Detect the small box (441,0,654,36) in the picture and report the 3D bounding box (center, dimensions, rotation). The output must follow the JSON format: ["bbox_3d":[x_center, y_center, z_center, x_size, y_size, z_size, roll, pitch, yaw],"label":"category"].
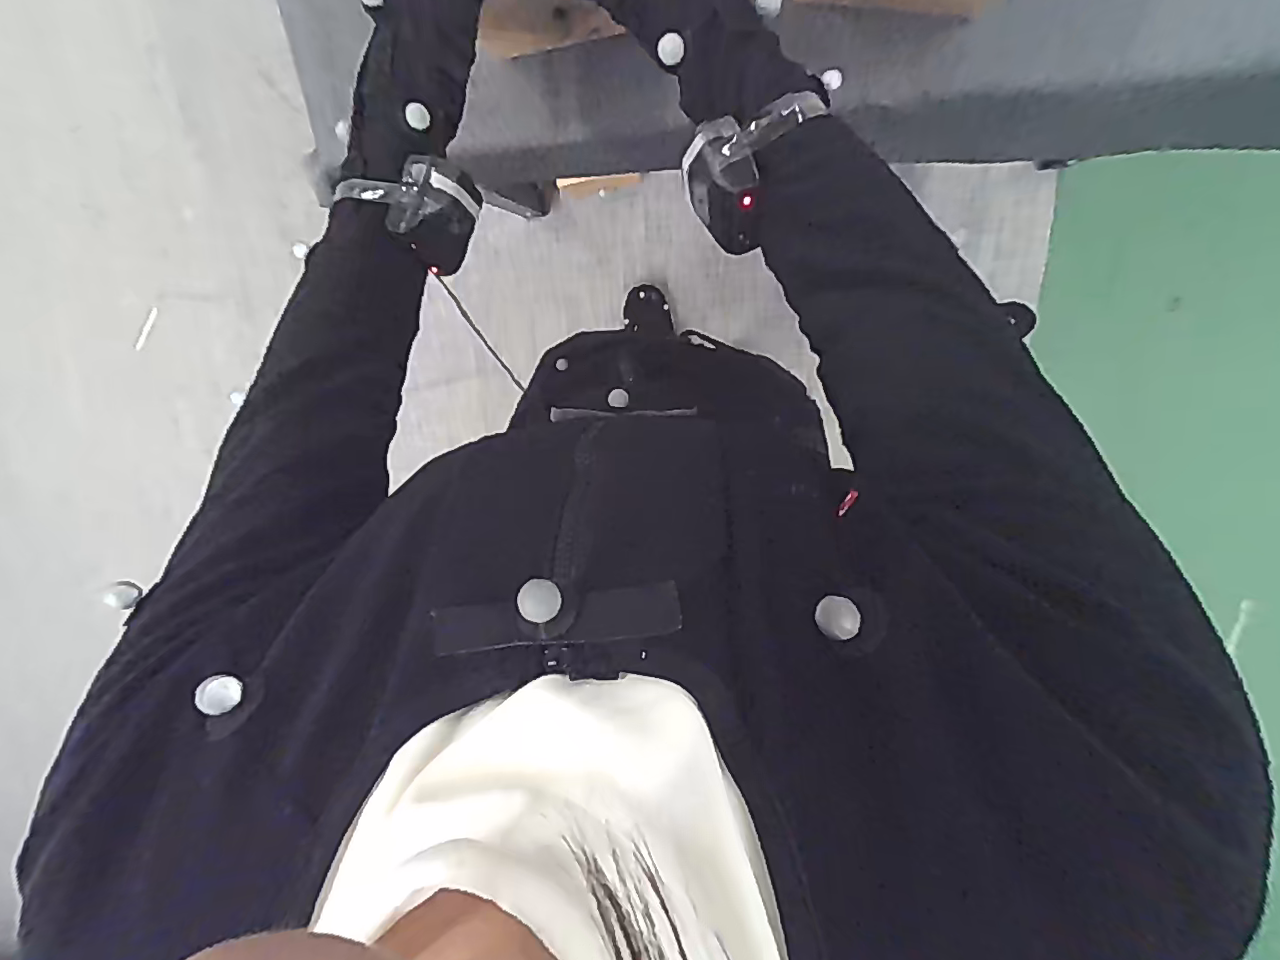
[{"bbox_3d":[-0.081,-0.483,0.424,0.168,0.176,0.179,-4,115,9],"label":"small box"}]

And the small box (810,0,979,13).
[{"bbox_3d":[0.233,-0.492,0.406,0.179,0.176,0.168,8,110,2],"label":"small box"}]
